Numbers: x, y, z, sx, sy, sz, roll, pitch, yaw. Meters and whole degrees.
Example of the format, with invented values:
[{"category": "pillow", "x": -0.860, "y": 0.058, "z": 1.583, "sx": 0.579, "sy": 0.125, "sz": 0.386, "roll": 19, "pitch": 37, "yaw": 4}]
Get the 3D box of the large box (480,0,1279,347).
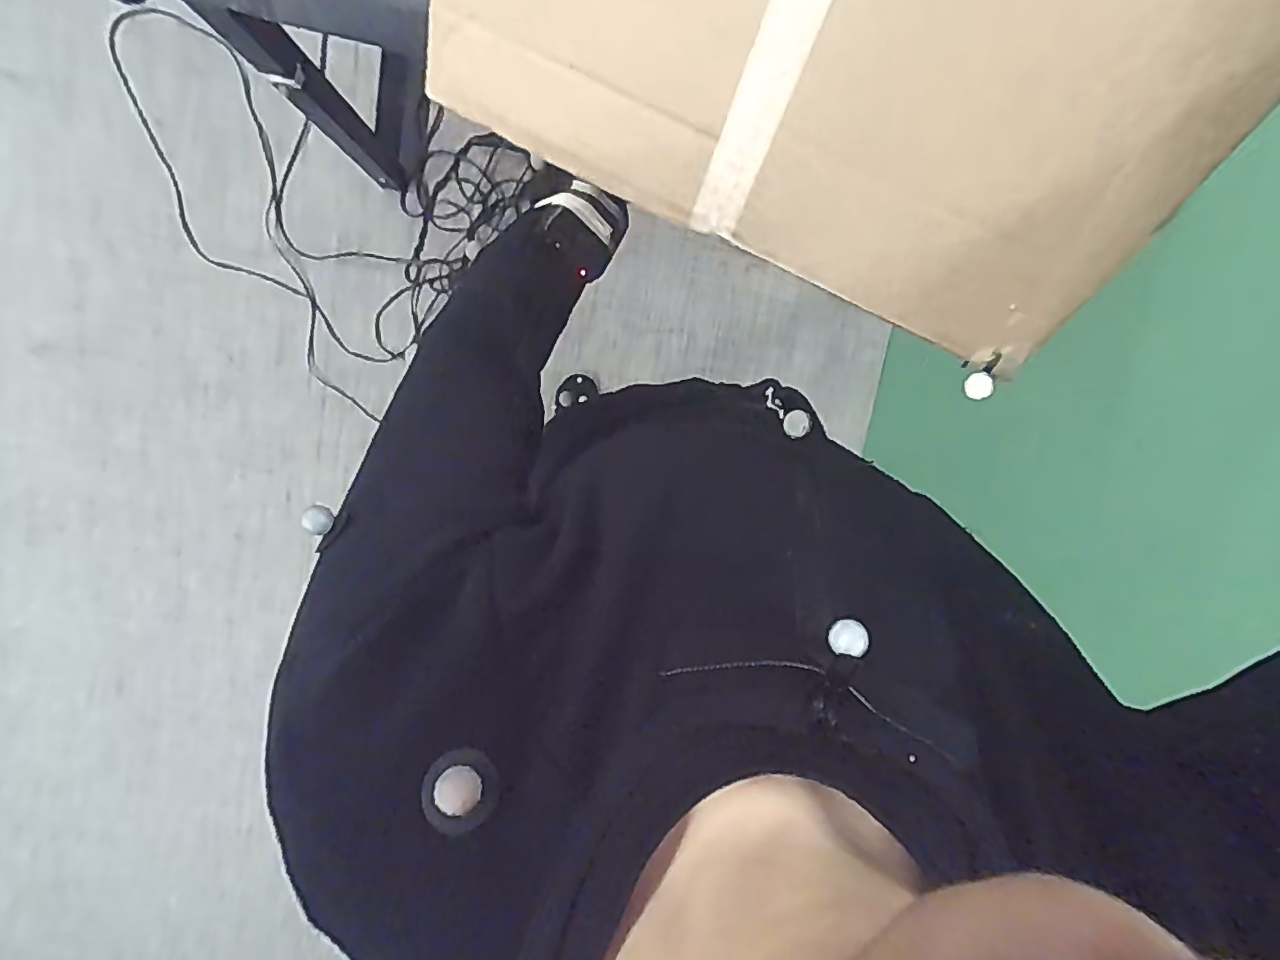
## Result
[{"category": "large box", "x": 0.156, "y": -0.353, "z": 0.249, "sx": 0.320, "sy": 0.320, "sz": 0.408, "roll": 27, "pitch": 133, "yaw": 3}]
